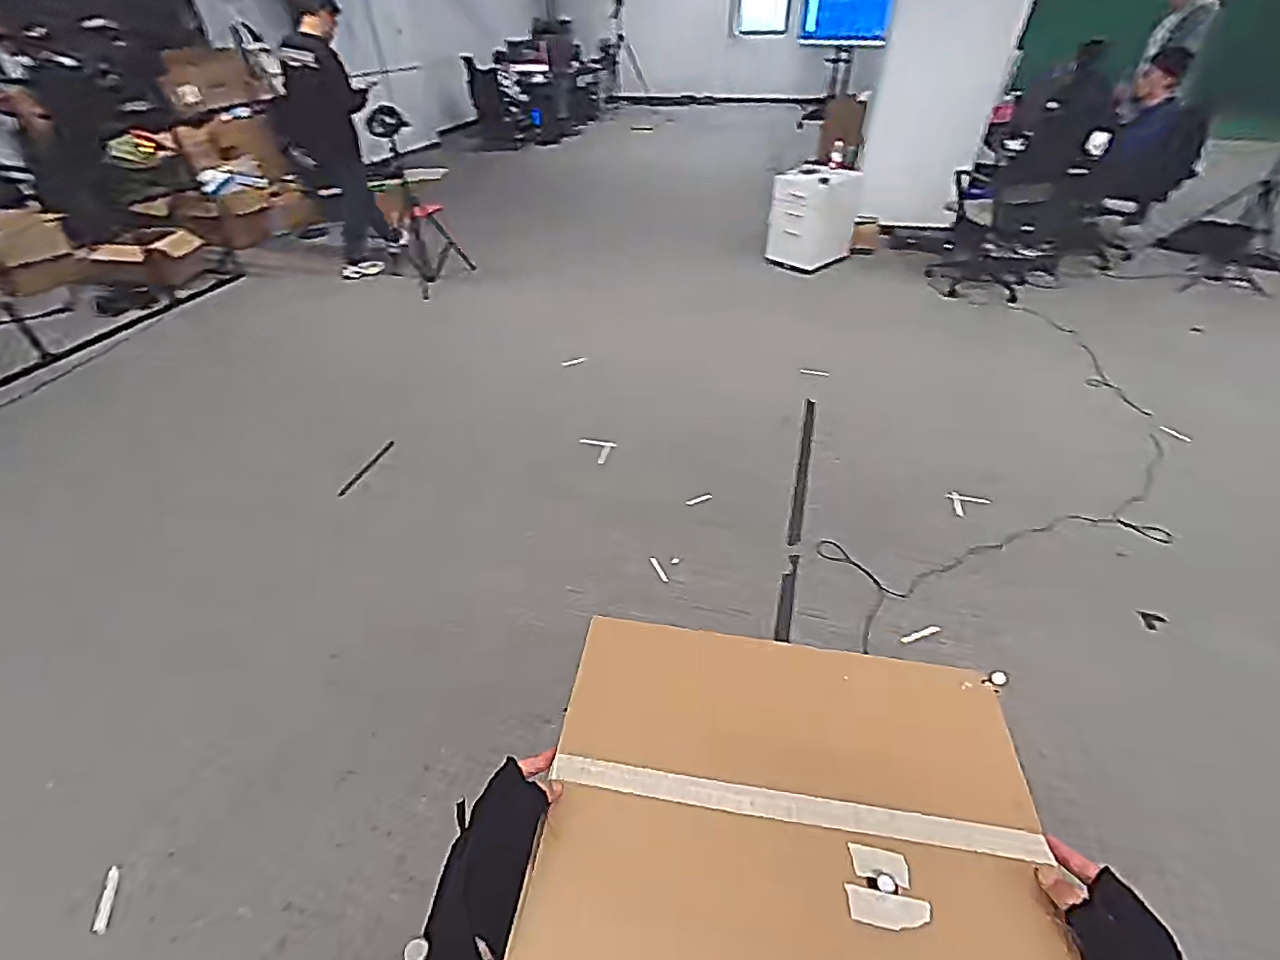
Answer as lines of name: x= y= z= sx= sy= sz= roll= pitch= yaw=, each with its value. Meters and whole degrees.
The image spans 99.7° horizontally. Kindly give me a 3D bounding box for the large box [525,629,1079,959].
large box: x=0.128 y=0.394 z=0.555 sx=0.408 sy=0.320 sz=0.320 roll=7 pitch=44 yaw=6
